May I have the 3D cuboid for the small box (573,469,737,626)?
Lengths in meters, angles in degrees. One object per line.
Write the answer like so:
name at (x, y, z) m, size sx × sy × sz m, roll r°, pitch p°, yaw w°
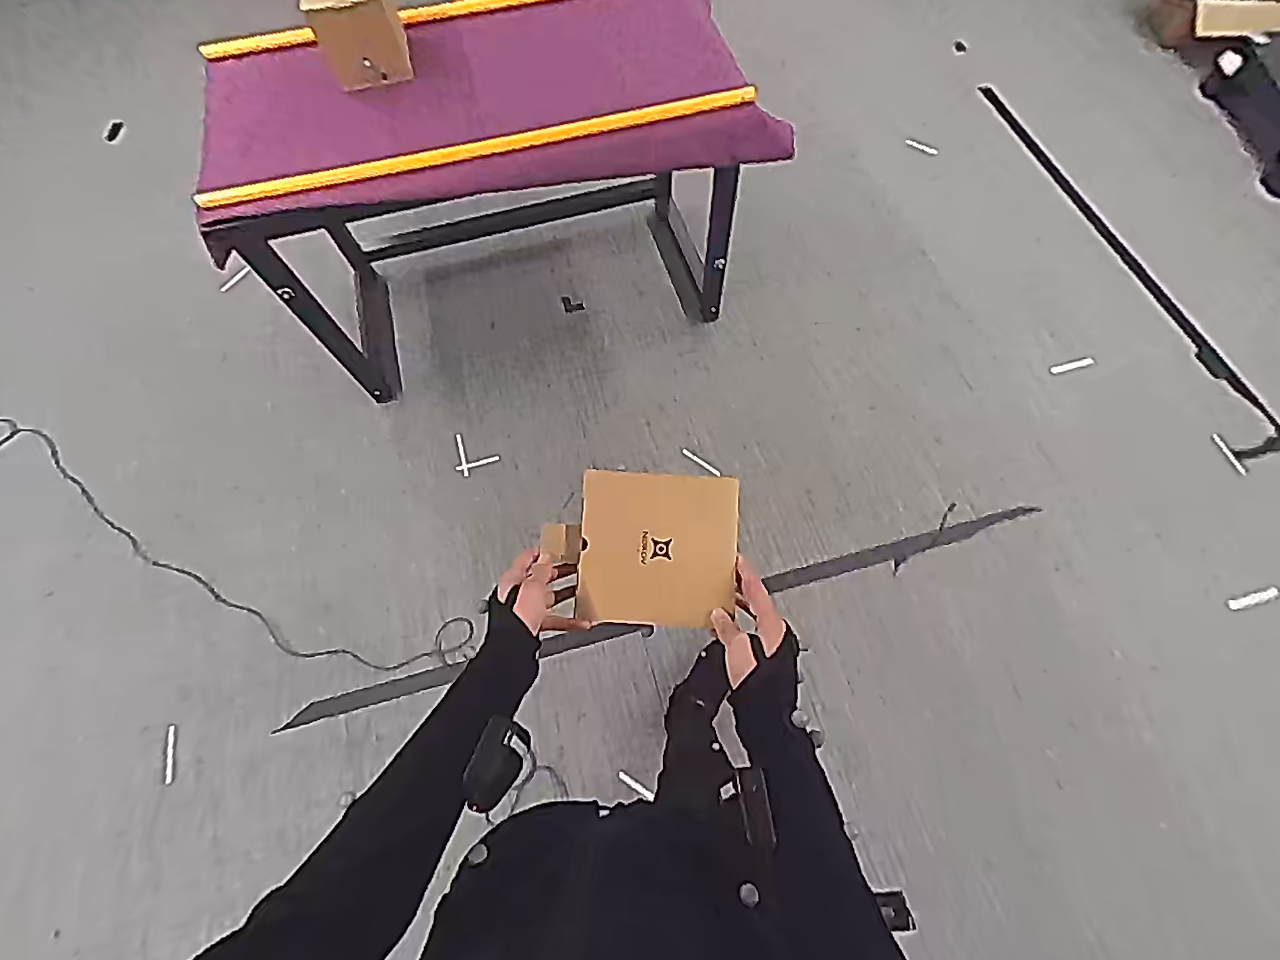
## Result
small box at (0.022, 0.083, 0.673) m, size 0.179 × 0.176 × 0.168 m, roll 2°, pitch 81°, yaw 4°

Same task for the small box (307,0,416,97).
small box at (-0.631, -1.023, 1.234) m, size 0.168 × 0.176 × 0.179 m, roll -14°, pitch 70°, yaw -4°
